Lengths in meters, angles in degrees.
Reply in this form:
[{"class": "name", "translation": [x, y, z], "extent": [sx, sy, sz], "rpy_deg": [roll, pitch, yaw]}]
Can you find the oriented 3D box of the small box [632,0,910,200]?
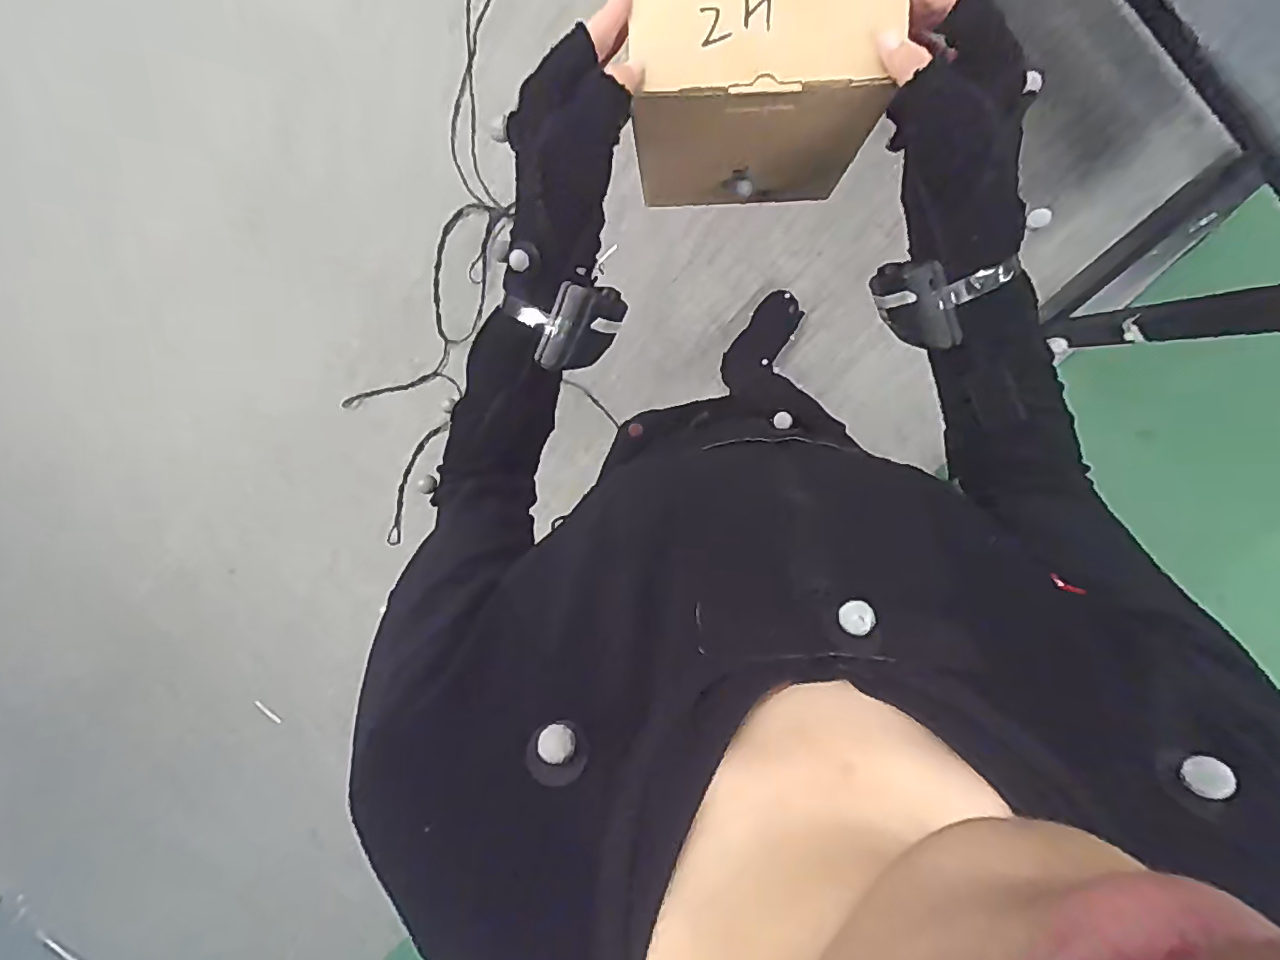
[{"class": "small box", "translation": [0.082, -0.332, 0.397], "extent": [0.168, 0.176, 0.179], "rpy_deg": [0, 95, 4]}]
